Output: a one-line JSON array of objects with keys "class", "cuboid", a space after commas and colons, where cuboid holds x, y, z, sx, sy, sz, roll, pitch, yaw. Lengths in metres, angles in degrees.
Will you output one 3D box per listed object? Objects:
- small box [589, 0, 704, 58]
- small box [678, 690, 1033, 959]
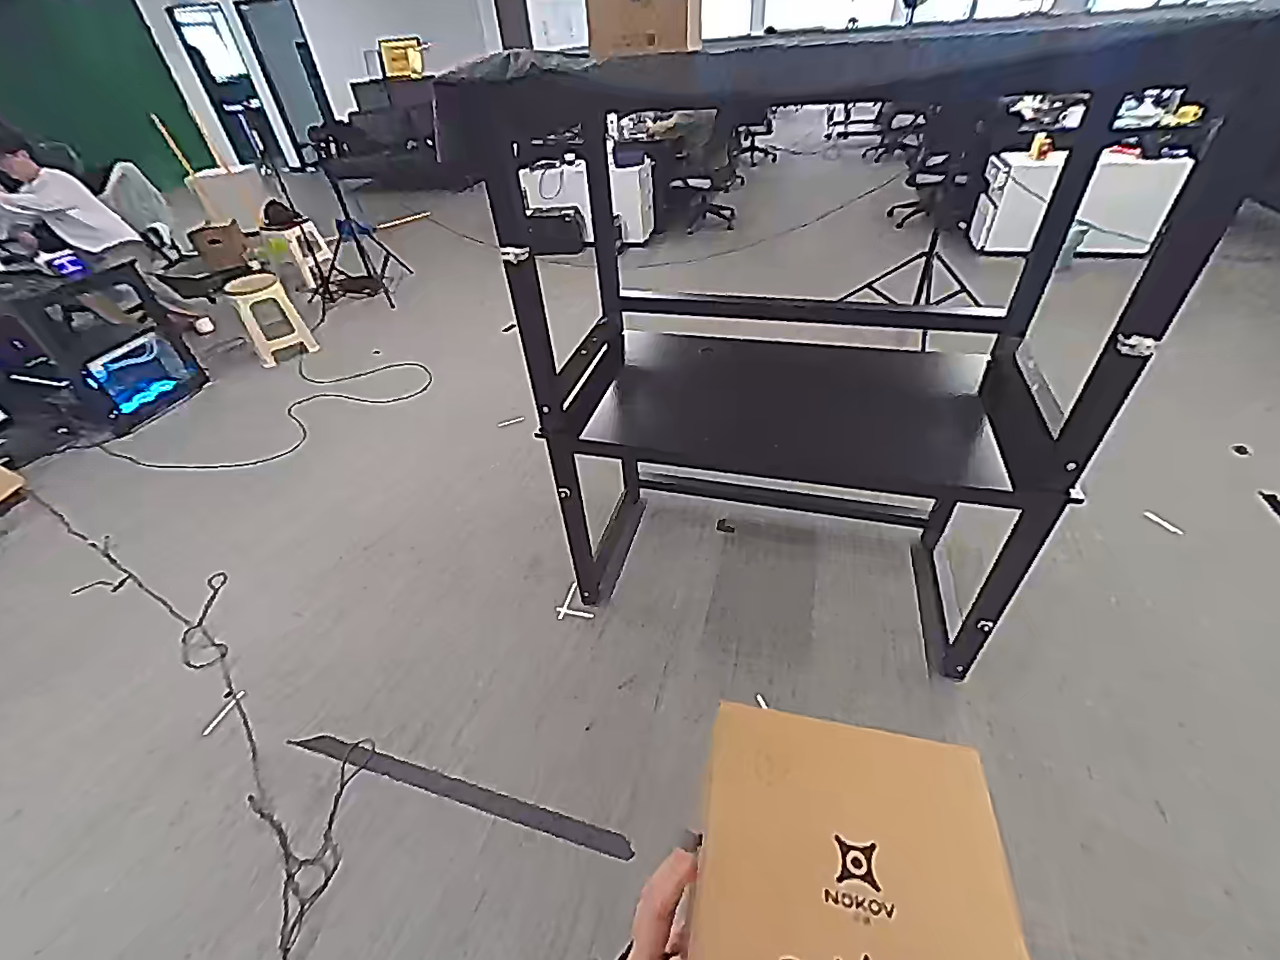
[{"class": "small box", "cuboid": [0.015, -0.800, 0.881, 0.168, 0.176, 0.179, 6, 40, 11]}, {"class": "small box", "cuboid": [0.116, 0.269, 0.346, 0.168, 0.176, 0.179, 8, 44, 9]}]
